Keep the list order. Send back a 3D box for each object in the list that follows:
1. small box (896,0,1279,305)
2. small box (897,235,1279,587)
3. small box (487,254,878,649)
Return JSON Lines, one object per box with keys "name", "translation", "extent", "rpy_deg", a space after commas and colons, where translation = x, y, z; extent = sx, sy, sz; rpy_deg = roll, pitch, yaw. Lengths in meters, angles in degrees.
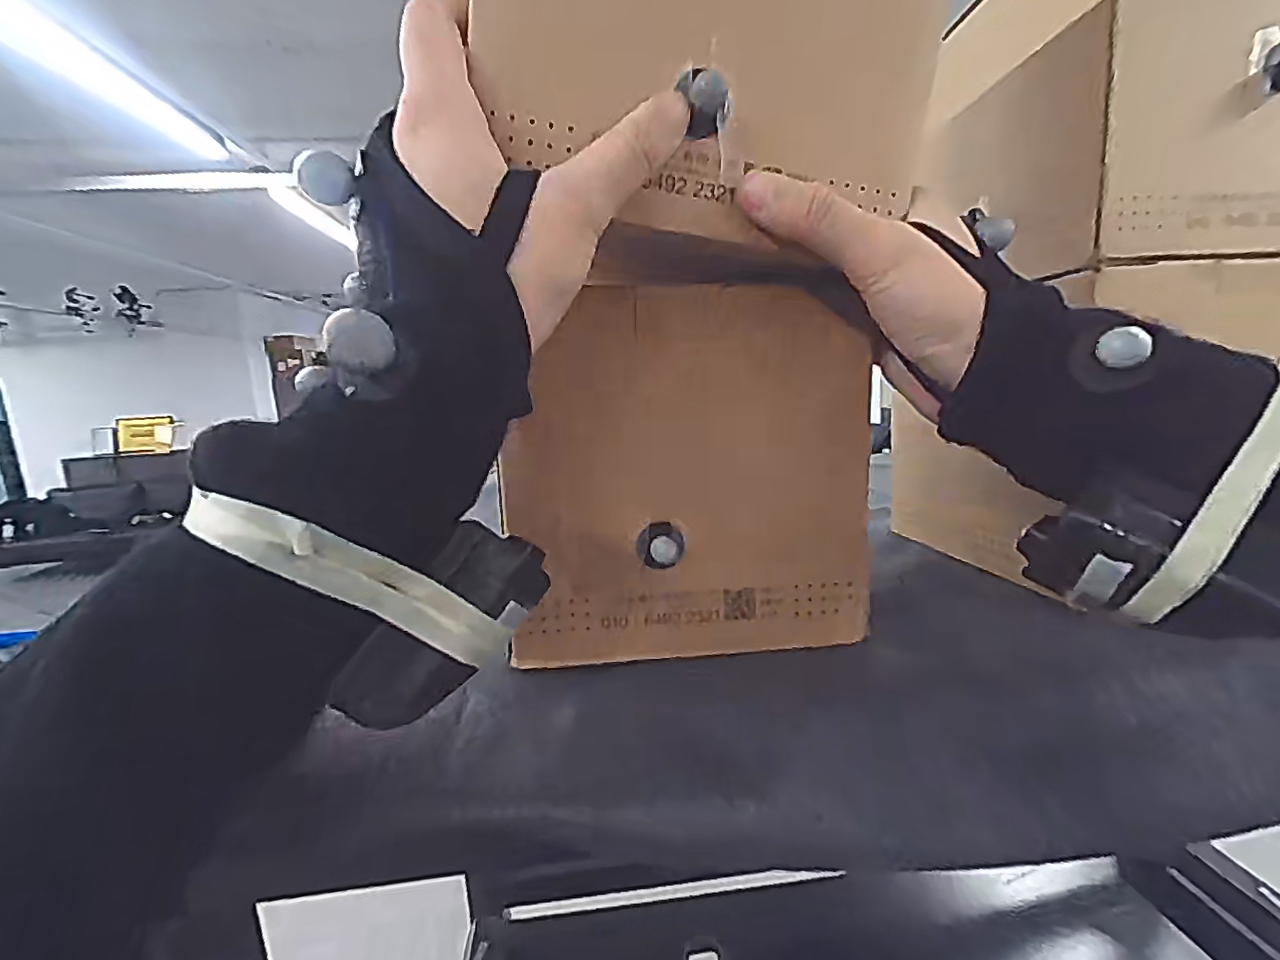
{"name": "small box", "translation": [0.275, -0.203, 0.320], "extent": [0.168, 0.176, 0.179], "rpy_deg": [-3, 8, -5]}
{"name": "small box", "translation": [0.283, -0.040, 0.342], "extent": [0.168, 0.176, 0.179], "rpy_deg": [-4, 8, -4]}
{"name": "small box", "translation": [0.013, -0.019, 0.312], "extent": [0.168, 0.176, 0.179], "rpy_deg": [-3, 8, -6]}
